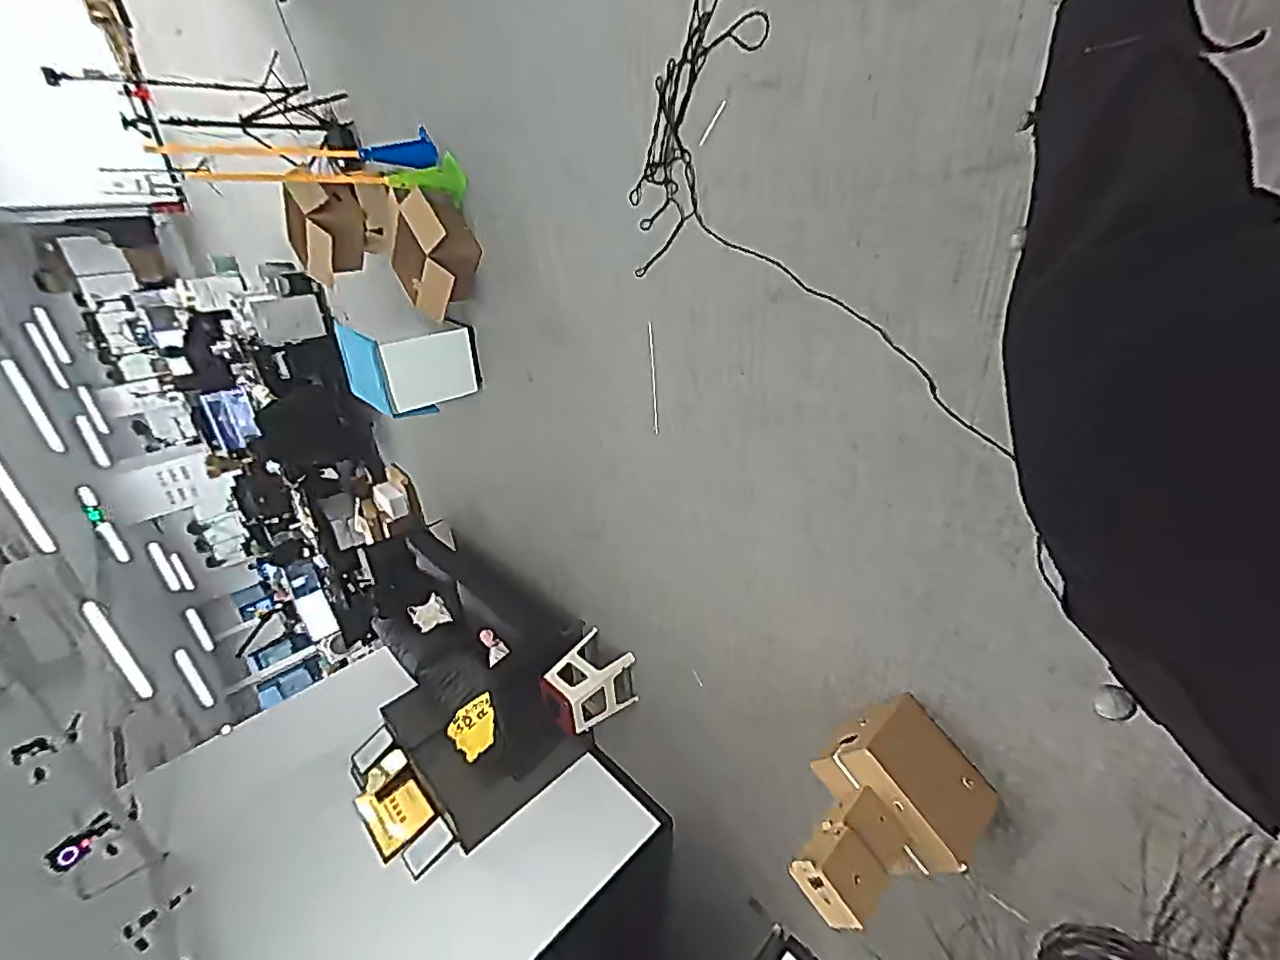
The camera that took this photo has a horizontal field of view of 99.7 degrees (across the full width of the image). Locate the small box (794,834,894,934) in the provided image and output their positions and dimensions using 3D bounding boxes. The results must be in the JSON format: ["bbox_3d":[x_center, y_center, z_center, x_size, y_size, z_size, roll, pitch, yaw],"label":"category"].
[{"bbox_3d":[0.593,1.165,1.575,0.179,0.176,0.168,50,142,16],"label":"small box"}]

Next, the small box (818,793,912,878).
[{"bbox_3d":[0.702,1.110,1.687,0.179,0.176,0.168,49,142,21],"label":"small box"}]
